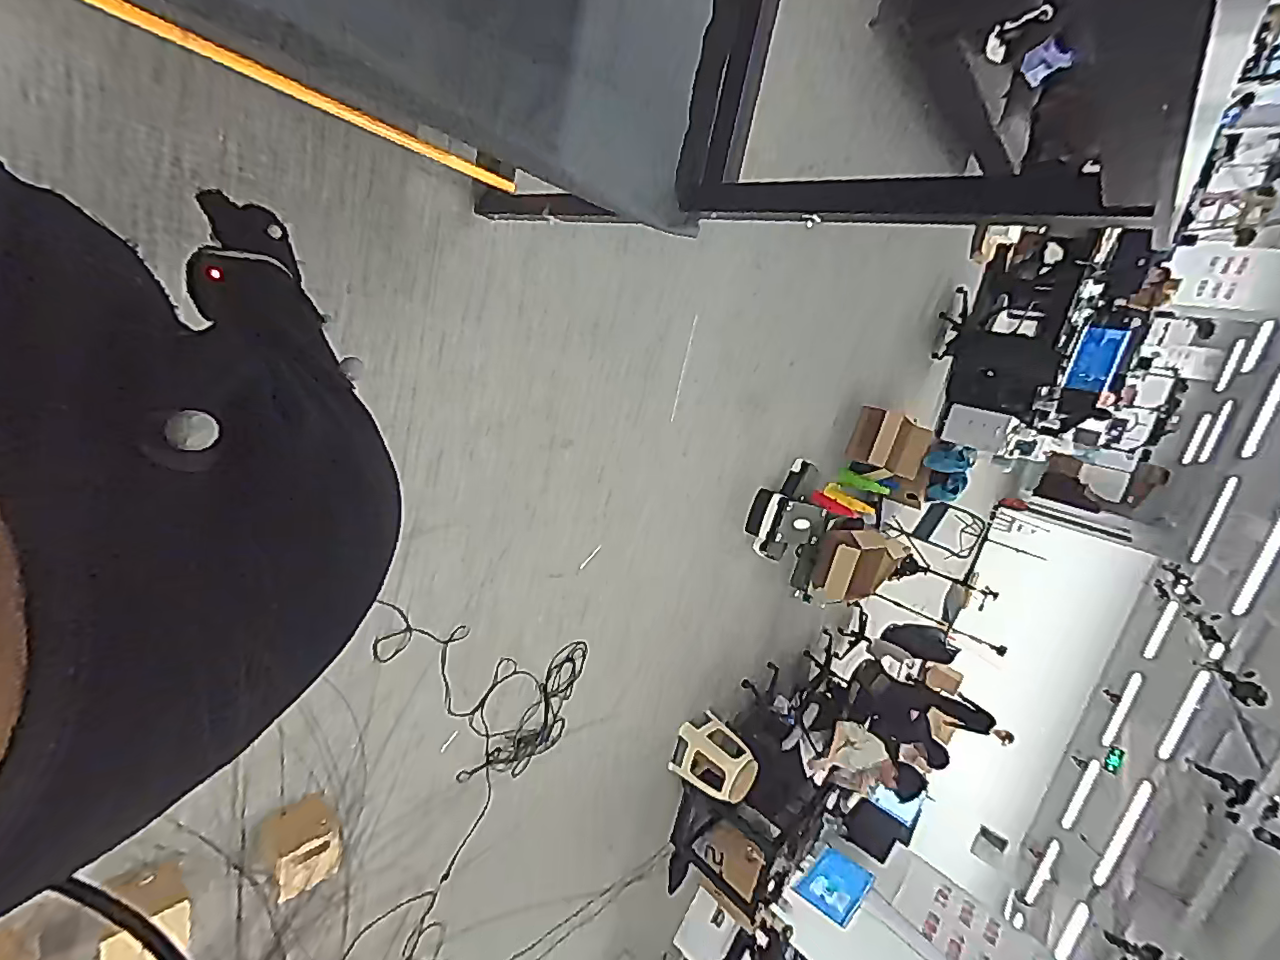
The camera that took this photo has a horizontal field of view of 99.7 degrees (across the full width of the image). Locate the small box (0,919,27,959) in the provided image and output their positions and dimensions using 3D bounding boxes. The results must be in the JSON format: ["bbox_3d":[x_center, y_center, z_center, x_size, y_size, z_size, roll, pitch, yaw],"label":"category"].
[{"bbox_3d":[-1.463,1.120,1.169,0.168,0.176,0.179,9,101,-51],"label":"small box"}]

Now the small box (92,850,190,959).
[{"bbox_3d":[-1.273,1.107,1.382,0.168,0.176,0.179,-6,111,-50],"label":"small box"}]
